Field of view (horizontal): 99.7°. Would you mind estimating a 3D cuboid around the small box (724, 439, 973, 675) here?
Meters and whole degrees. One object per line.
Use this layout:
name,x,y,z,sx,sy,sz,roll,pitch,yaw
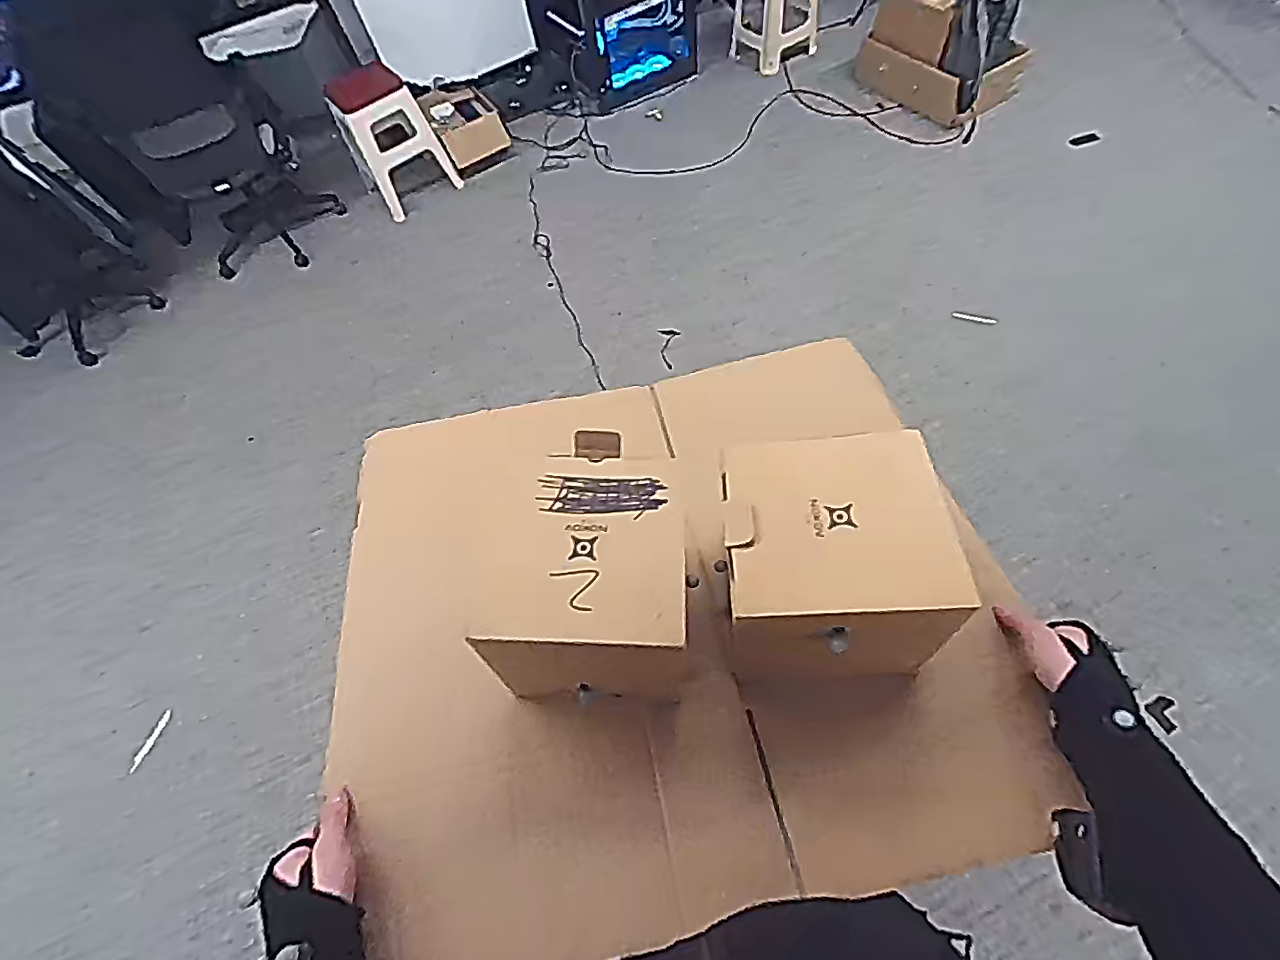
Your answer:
small box,0.174,0.081,0.516,0.179,0.176,0.168,-5,55,8
